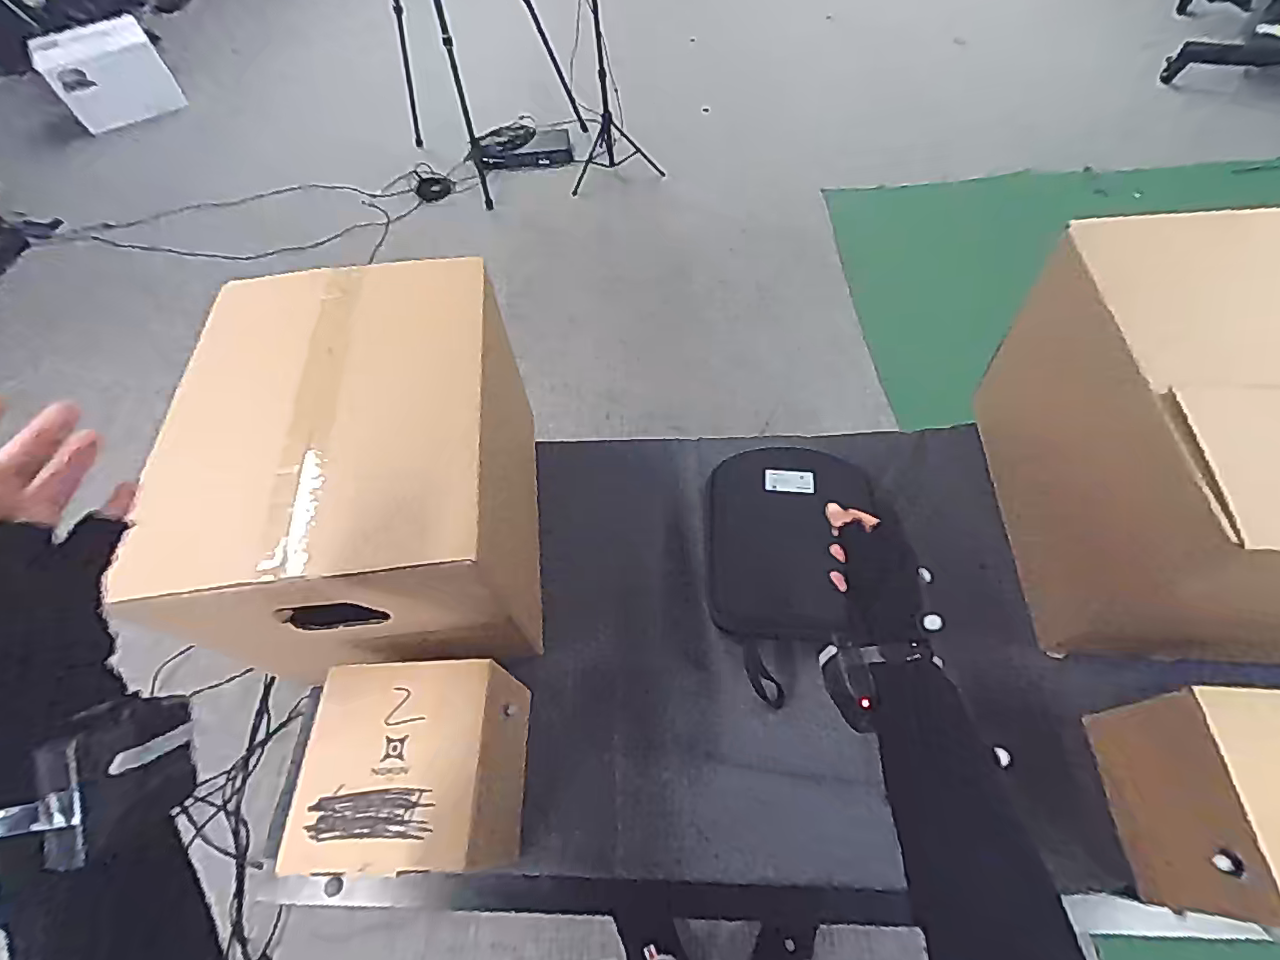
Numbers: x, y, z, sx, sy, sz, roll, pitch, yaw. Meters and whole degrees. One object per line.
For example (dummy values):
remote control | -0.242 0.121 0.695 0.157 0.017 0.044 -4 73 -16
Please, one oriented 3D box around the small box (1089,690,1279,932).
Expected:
small box | 0.573 0.306 0.500 0.168 0.176 0.179 1 59 6
